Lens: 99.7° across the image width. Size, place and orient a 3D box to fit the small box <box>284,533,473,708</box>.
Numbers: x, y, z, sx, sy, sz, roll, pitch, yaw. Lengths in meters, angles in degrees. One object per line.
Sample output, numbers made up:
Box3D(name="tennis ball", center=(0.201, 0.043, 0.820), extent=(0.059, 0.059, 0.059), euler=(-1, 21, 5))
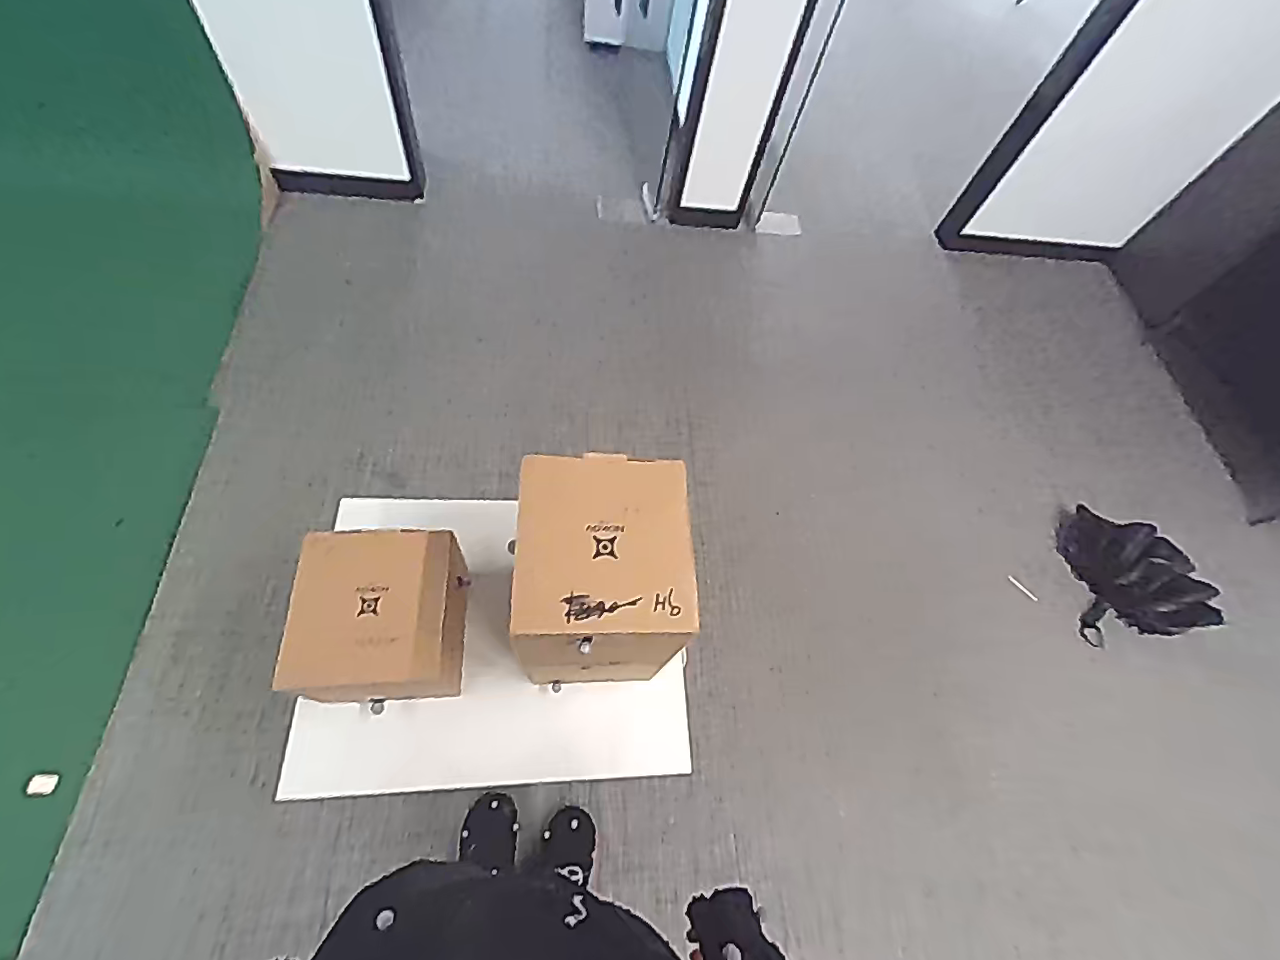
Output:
Box3D(name="small box", center=(-0.308, 0.179, 0.679), extent=(0.168, 0.176, 0.179), euler=(-2, 64, -9))

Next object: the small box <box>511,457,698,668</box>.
Box3D(name="small box", center=(-0.043, 0.094, 0.575), extent=(0.168, 0.176, 0.179), euler=(1, 62, -8))
